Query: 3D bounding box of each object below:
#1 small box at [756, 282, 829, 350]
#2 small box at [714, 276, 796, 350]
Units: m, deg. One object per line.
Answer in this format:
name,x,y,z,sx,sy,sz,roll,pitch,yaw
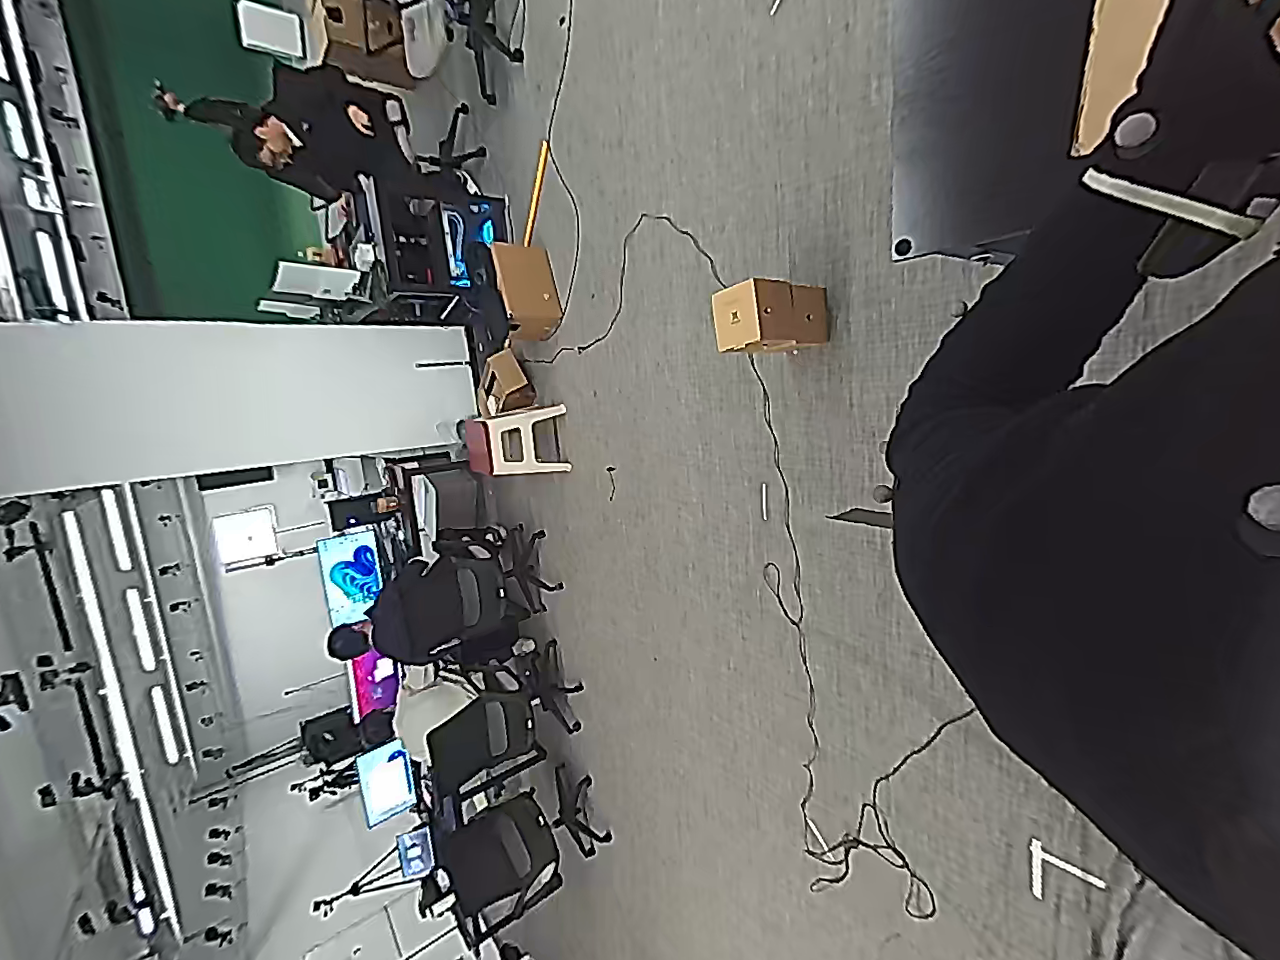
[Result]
small box,0.474,-0.510,1.697,0.168,0.176,0.179,2,102,53
small box,0.345,-0.490,1.601,0.168,0.176,0.179,-2,97,53
